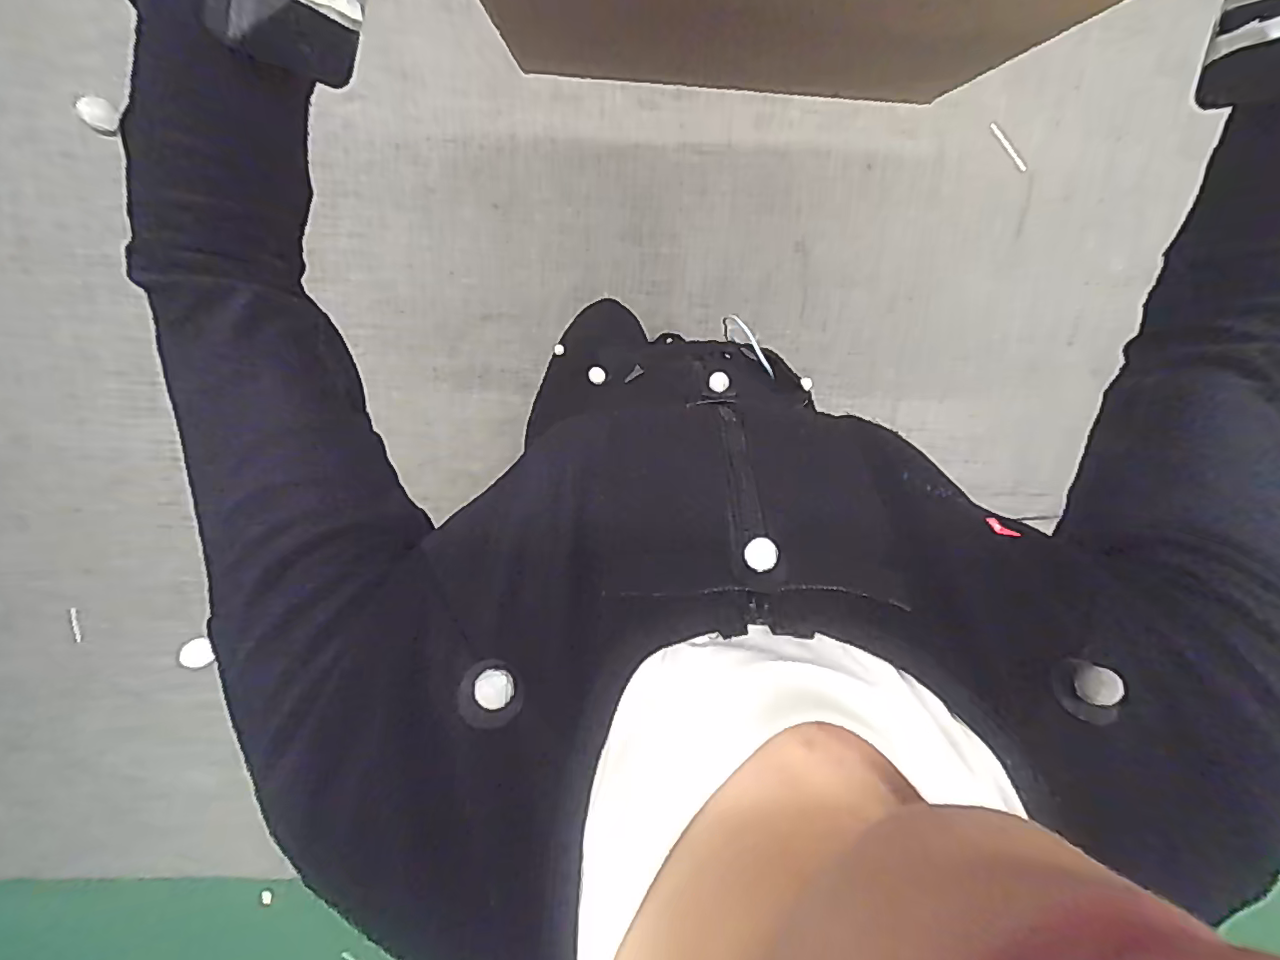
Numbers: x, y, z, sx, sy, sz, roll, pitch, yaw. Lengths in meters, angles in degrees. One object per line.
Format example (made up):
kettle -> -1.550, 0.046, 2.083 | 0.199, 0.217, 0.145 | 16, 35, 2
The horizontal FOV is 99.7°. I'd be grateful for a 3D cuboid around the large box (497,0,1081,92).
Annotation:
large box -> 0.098, -0.474, 0.335 | 0.408, 0.320, 0.320 | 2, 113, -3
